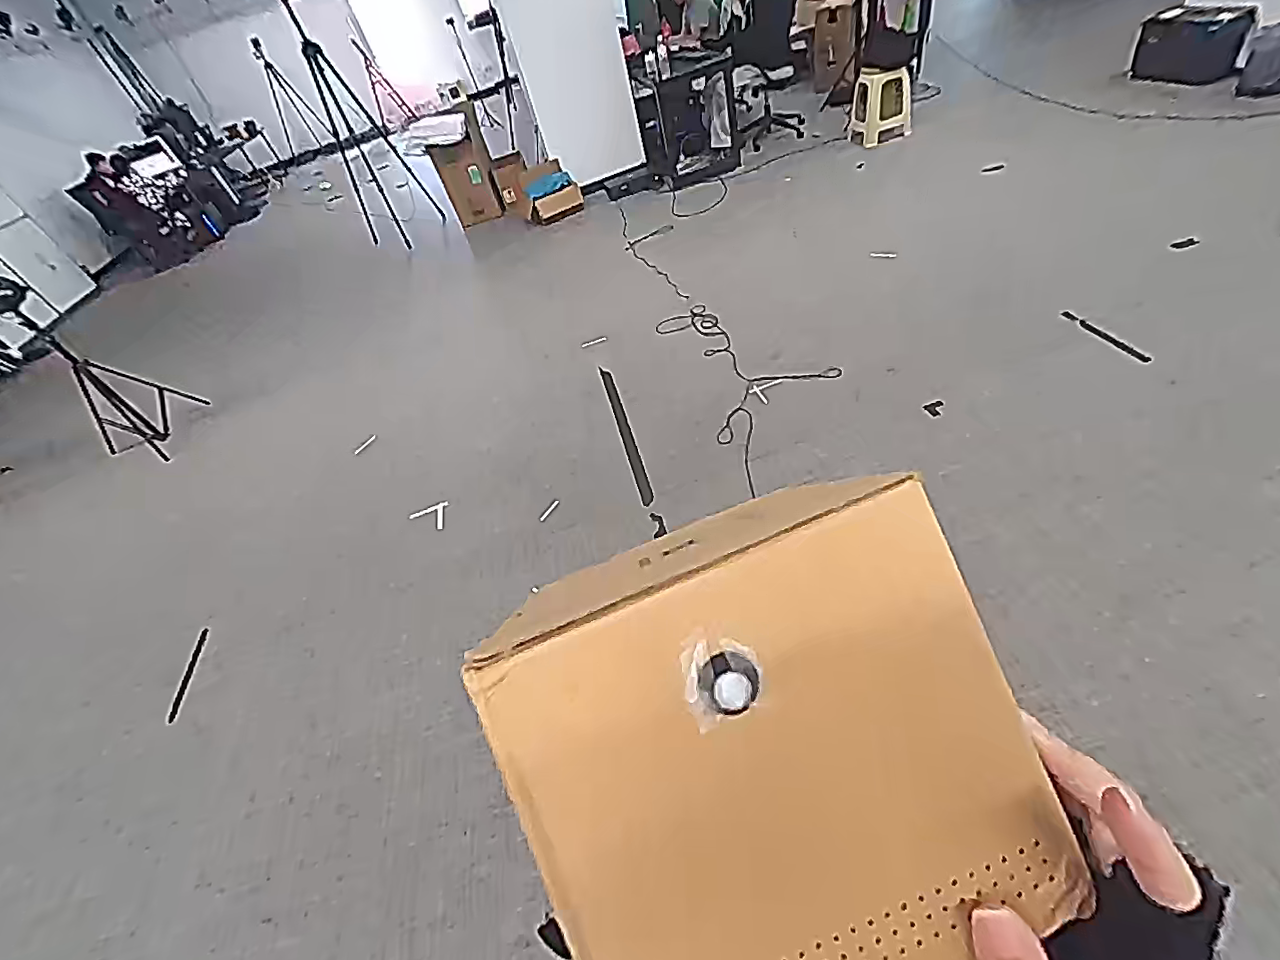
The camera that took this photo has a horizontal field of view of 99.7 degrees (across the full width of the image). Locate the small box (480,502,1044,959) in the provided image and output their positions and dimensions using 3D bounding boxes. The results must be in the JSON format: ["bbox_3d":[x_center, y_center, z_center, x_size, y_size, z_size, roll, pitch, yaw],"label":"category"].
[{"bbox_3d":[0.049,0.123,0.279,0.179,0.176,0.168,-22,-2,-3],"label":"small box"}]
